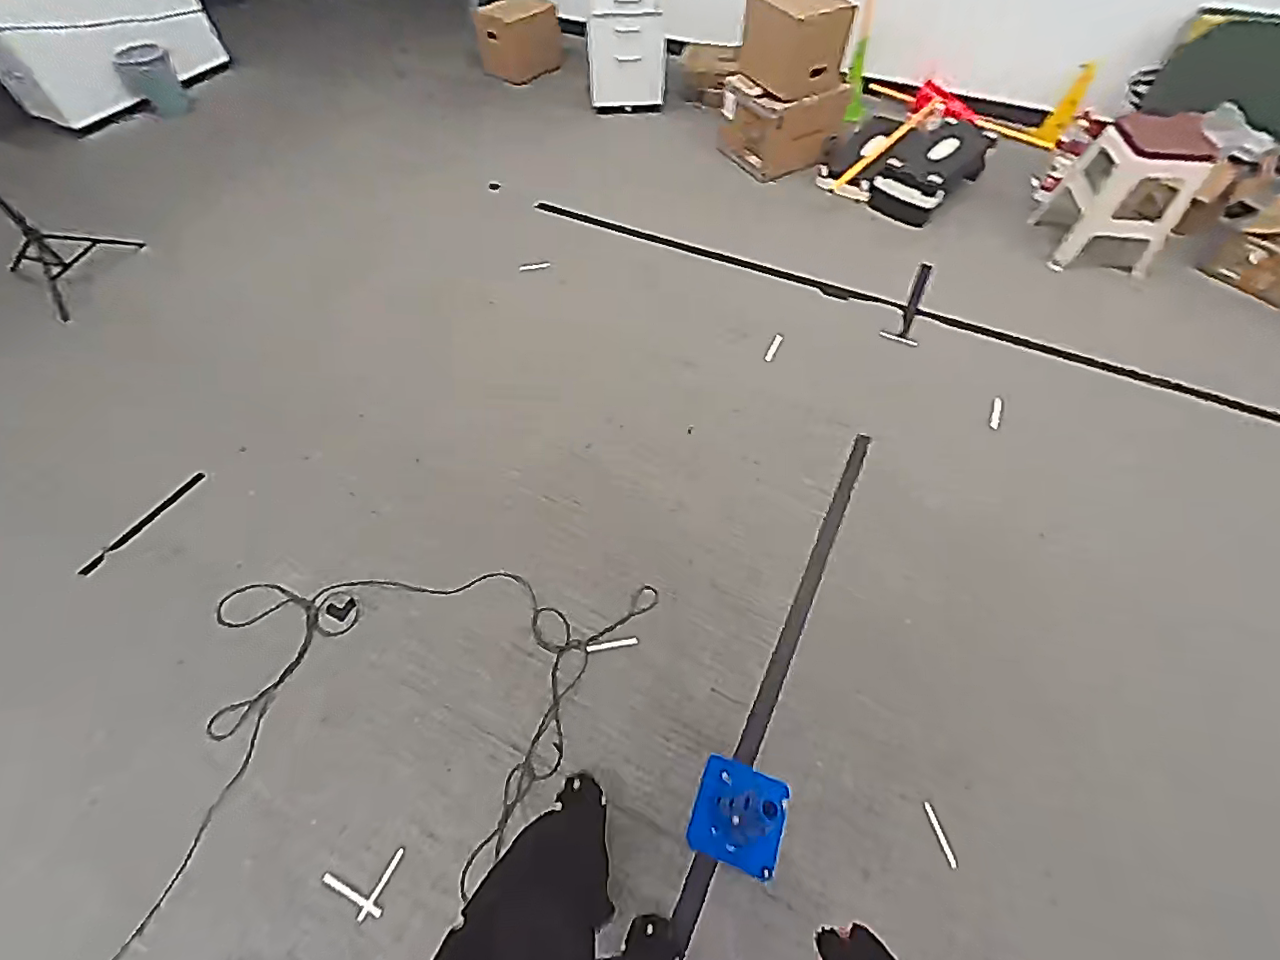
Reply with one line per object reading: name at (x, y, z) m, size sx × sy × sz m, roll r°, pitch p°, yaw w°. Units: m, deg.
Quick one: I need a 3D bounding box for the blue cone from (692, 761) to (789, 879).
blue cone at (0.226, 0.672, 1.085) m, size 0.192 × 0.380 × 0.193 m, roll 21°, pitch 59°, yaw 12°
